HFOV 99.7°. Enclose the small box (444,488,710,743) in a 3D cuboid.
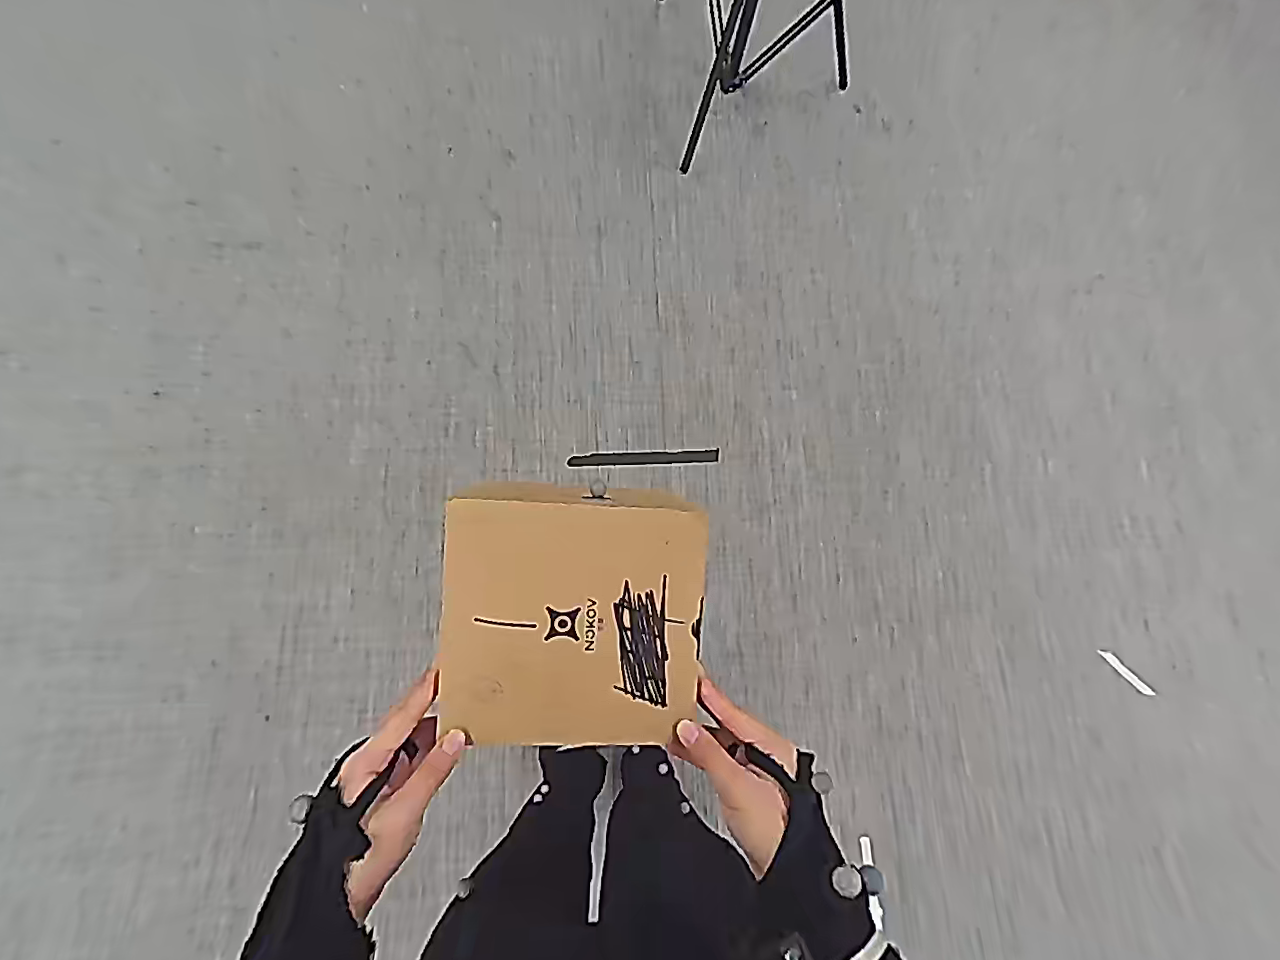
[{"bbox_3d":[-0.052,0.096,0.452,0.179,0.176,0.168,3,93,-7],"label":"small box"}]
